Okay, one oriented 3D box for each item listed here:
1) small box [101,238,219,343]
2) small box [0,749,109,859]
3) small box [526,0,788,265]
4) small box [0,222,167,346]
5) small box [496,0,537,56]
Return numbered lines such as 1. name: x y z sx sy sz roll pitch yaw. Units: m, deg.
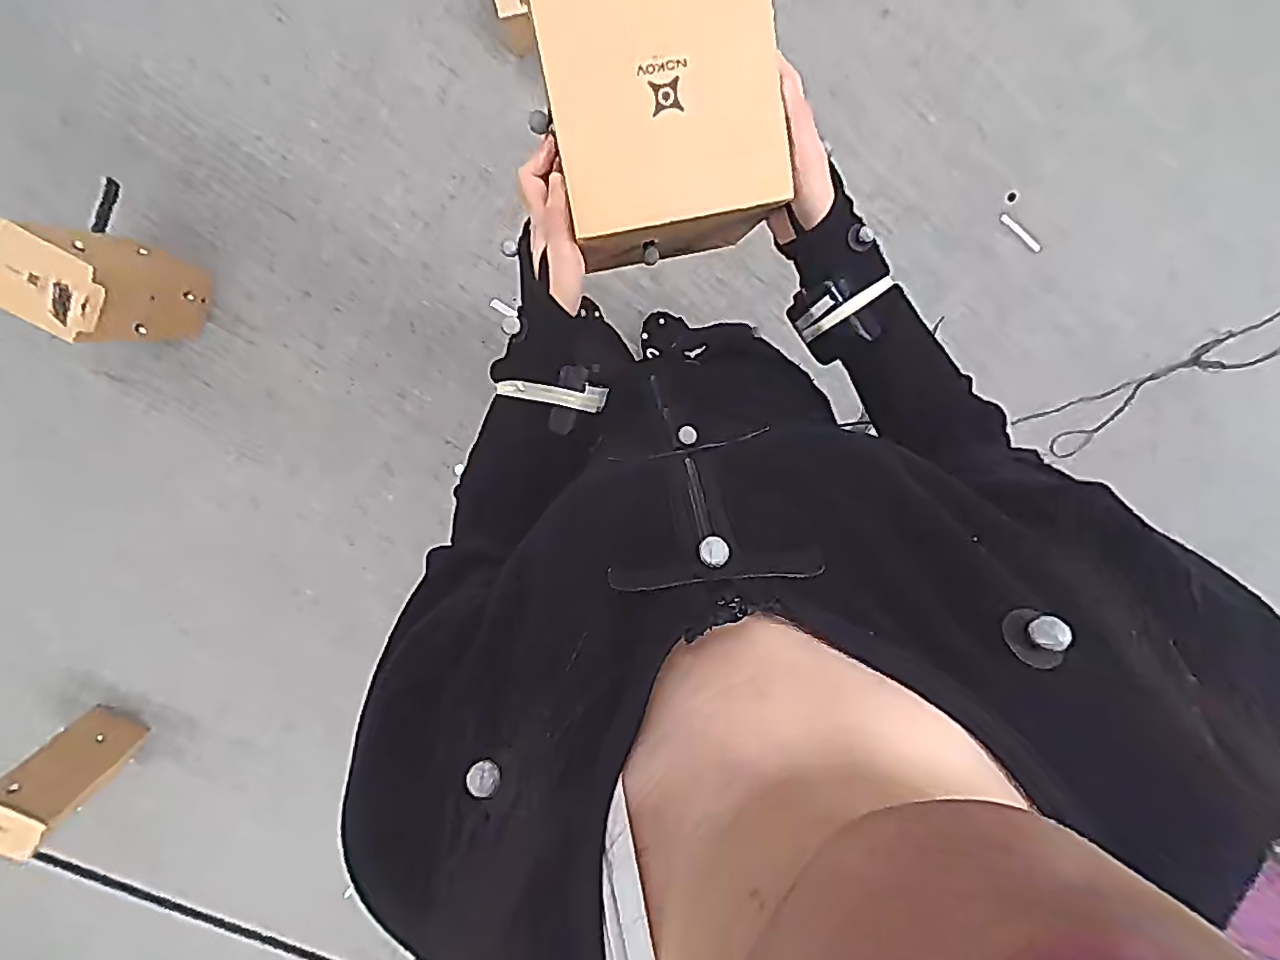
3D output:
1. small box: -1.139 -0.439 1.259 0.179 0.176 0.168 28 104 -9
2. small box: -1.641 0.876 1.481 0.179 0.176 0.168 36 104 -13
3. small box: 0.012 -0.291 0.457 0.168 0.176 0.179 -11 102 -2
4. small box: -1.130 -0.394 1.101 0.179 0.176 0.168 29 104 -10
5. small box: -0.216 -1.023 1.110 0.168 0.176 0.179 -12 108 1
